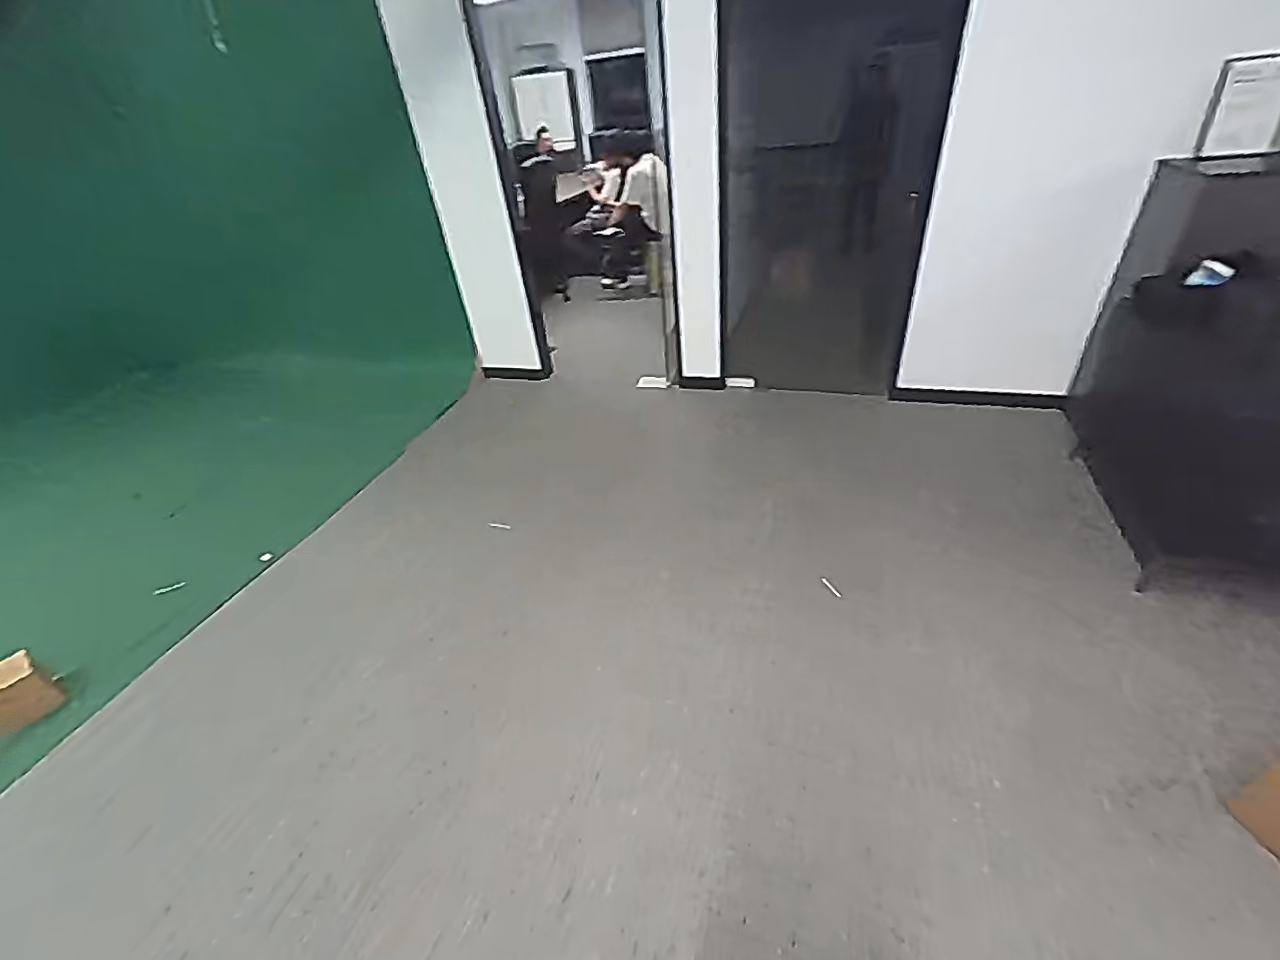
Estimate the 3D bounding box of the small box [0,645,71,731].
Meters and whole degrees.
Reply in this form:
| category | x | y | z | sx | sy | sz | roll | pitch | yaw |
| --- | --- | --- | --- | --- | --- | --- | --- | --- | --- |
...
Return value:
| category | x | y | z | sx | sy | sz | roll | pitch | yaw |
| --- | --- | --- | --- | --- | --- | --- | --- | --- | --- |
| small box | -2.089 | 0.700 | 1.814 | 0.168 | 0.176 | 0.179 | 21 | 43 | 32 |
